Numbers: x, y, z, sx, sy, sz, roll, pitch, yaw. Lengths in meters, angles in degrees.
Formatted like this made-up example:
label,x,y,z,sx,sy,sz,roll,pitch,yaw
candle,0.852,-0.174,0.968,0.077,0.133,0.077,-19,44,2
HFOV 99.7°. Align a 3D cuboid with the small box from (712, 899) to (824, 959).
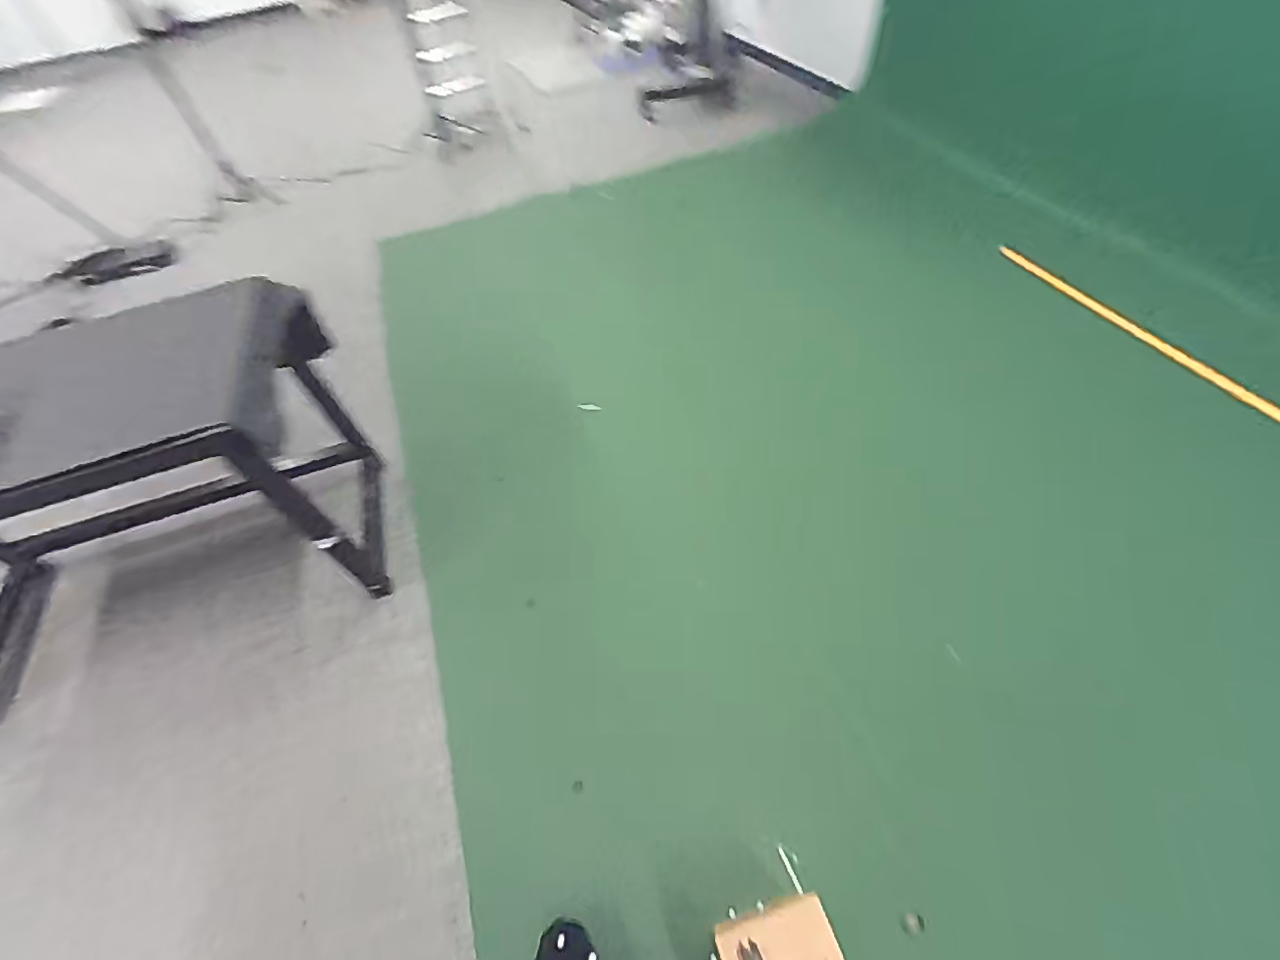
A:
label,x,y,z,sx,sy,sz,roll,pitch,yaw
small box,0.239,0.889,0.985,0.179,0.176,0.168,-18,53,-6
